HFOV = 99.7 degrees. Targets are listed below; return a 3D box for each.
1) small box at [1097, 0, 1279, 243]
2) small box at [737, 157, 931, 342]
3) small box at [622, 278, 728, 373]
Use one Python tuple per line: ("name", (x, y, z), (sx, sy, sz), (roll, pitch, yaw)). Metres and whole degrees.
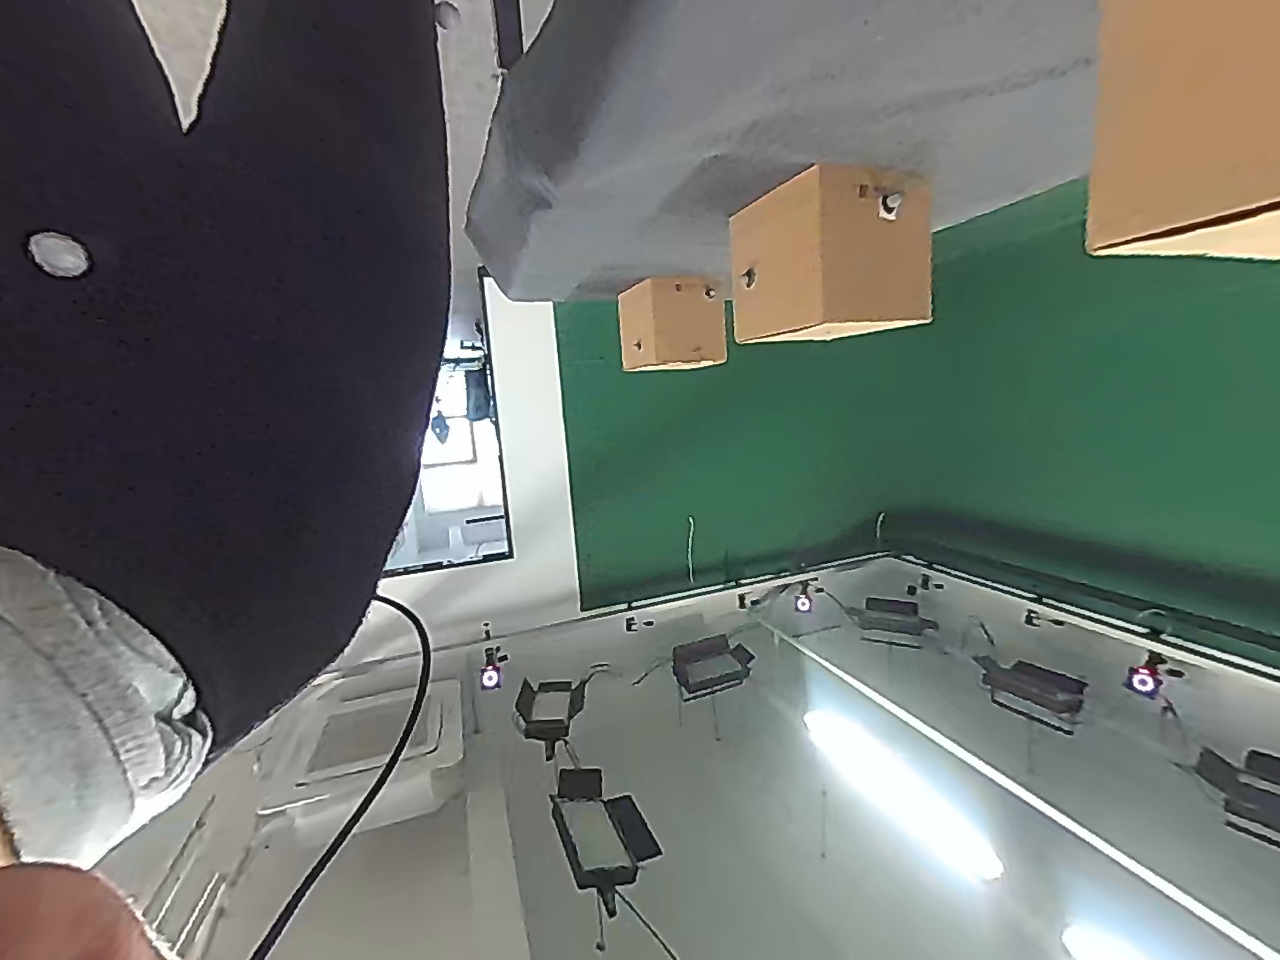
("small box", (0.353, -0.211, 0.231), (0.168, 0.176, 0.179), (-7, -170, -13))
("small box", (0.233, -0.271, 0.673), (0.168, 0.176, 0.179), (-10, -171, -21))
("small box", (0.067, -0.324, 1.143), (0.168, 0.176, 0.179), (-8, -170, -23))
